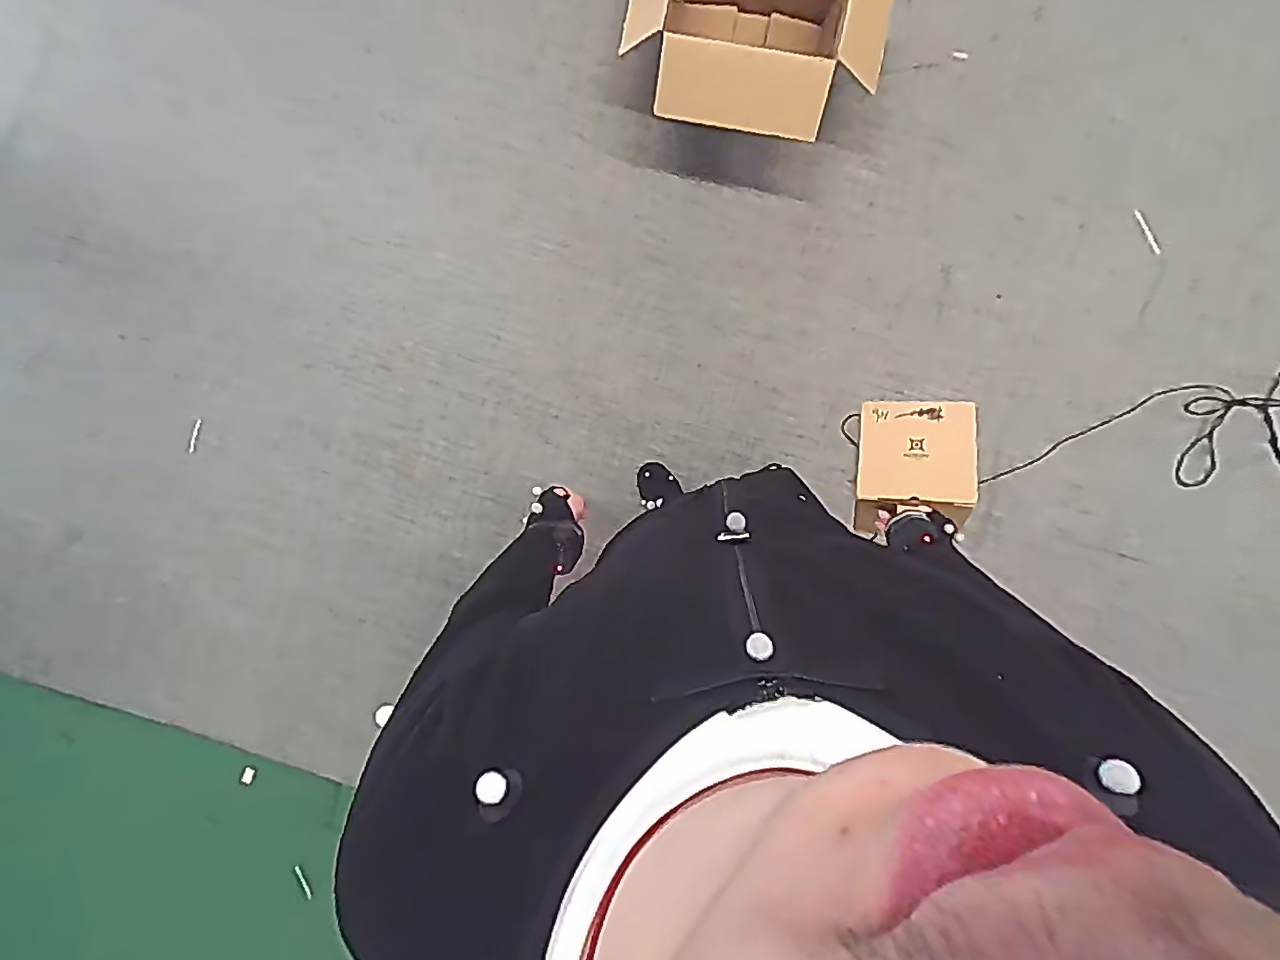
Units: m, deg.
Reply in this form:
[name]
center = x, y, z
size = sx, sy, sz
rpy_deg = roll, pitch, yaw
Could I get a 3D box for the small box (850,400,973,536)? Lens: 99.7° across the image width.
[small box]
center = 0.447, -0.016, 0.905
size = 0.168, 0.176, 0.179
rpy_deg = 5, 68, 21
